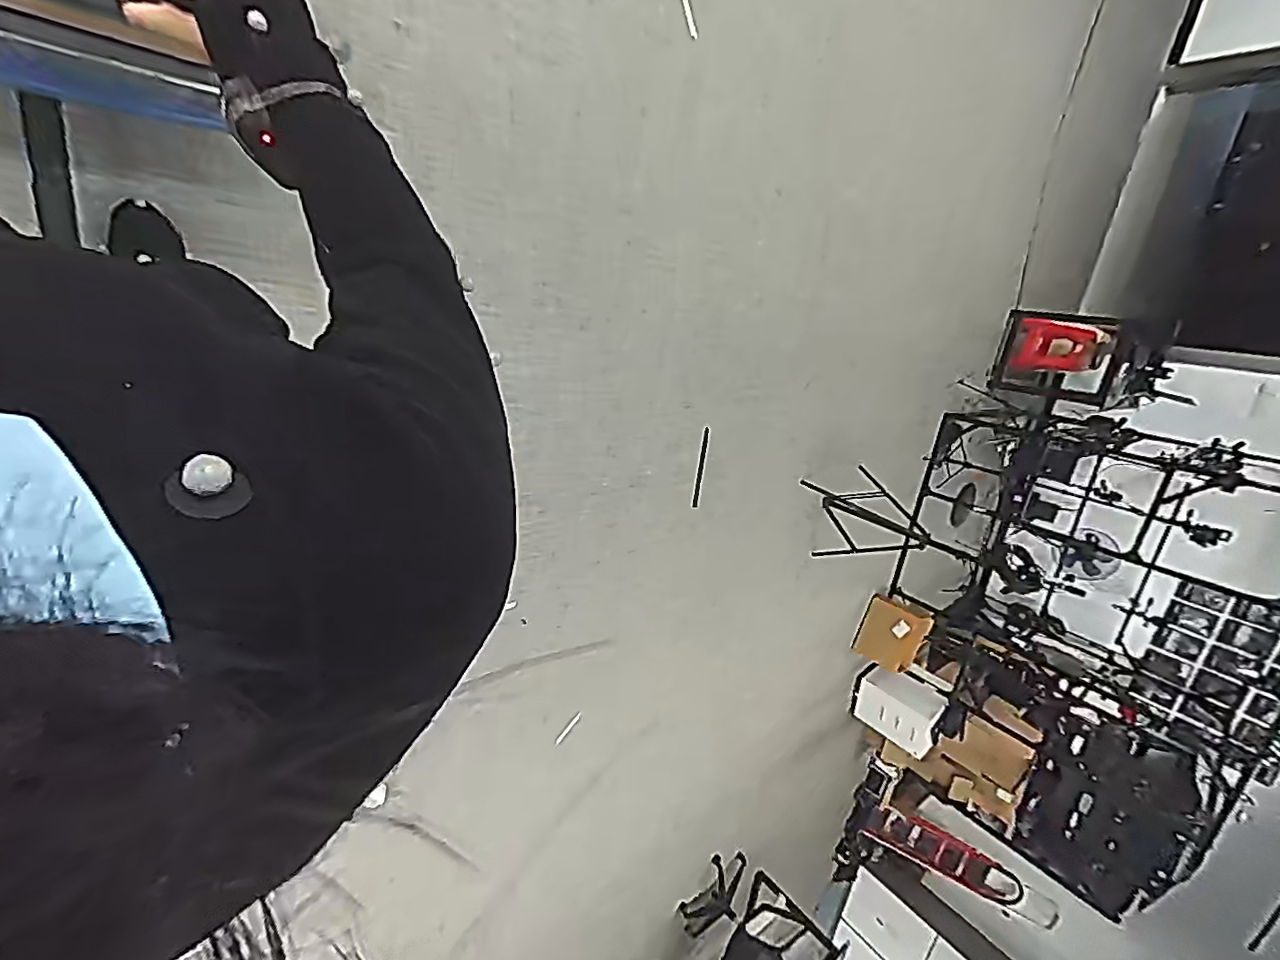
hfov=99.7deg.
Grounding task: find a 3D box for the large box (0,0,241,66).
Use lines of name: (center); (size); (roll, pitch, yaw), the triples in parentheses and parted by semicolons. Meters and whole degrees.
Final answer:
large box: (-0.749, -0.760, 0.627); (0.408, 0.320, 0.320); (-10, 115, -41)
